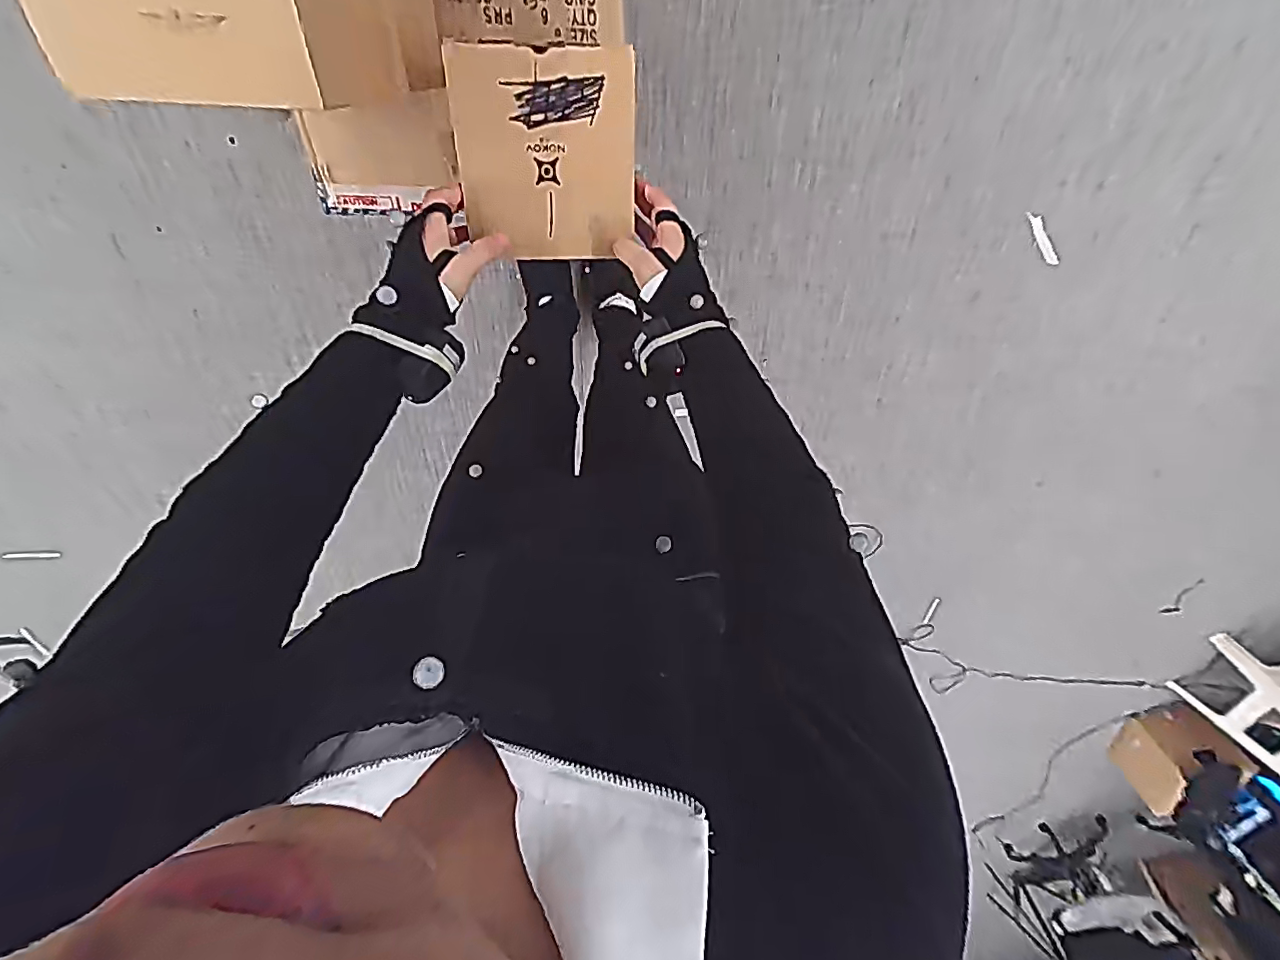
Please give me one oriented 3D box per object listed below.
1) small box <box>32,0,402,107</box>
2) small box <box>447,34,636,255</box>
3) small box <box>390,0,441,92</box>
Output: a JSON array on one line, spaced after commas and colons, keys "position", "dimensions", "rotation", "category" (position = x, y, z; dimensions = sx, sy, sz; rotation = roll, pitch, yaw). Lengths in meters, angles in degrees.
[{"position": [-0.286, -0.371, 0.369], "dimensions": [0.168, 0.176, 0.179], "rotation": [1, 129, -3], "category": "small box"}, {"position": [-0.097, -0.347, 0.575], "dimensions": [0.168, 0.176, 0.179], "rotation": [-3, 123, -6], "category": "small box"}, {"position": [-0.296, -0.471, 0.497], "dimensions": [0.168, 0.176, 0.179], "rotation": [0, 128, -4], "category": "small box"}]
